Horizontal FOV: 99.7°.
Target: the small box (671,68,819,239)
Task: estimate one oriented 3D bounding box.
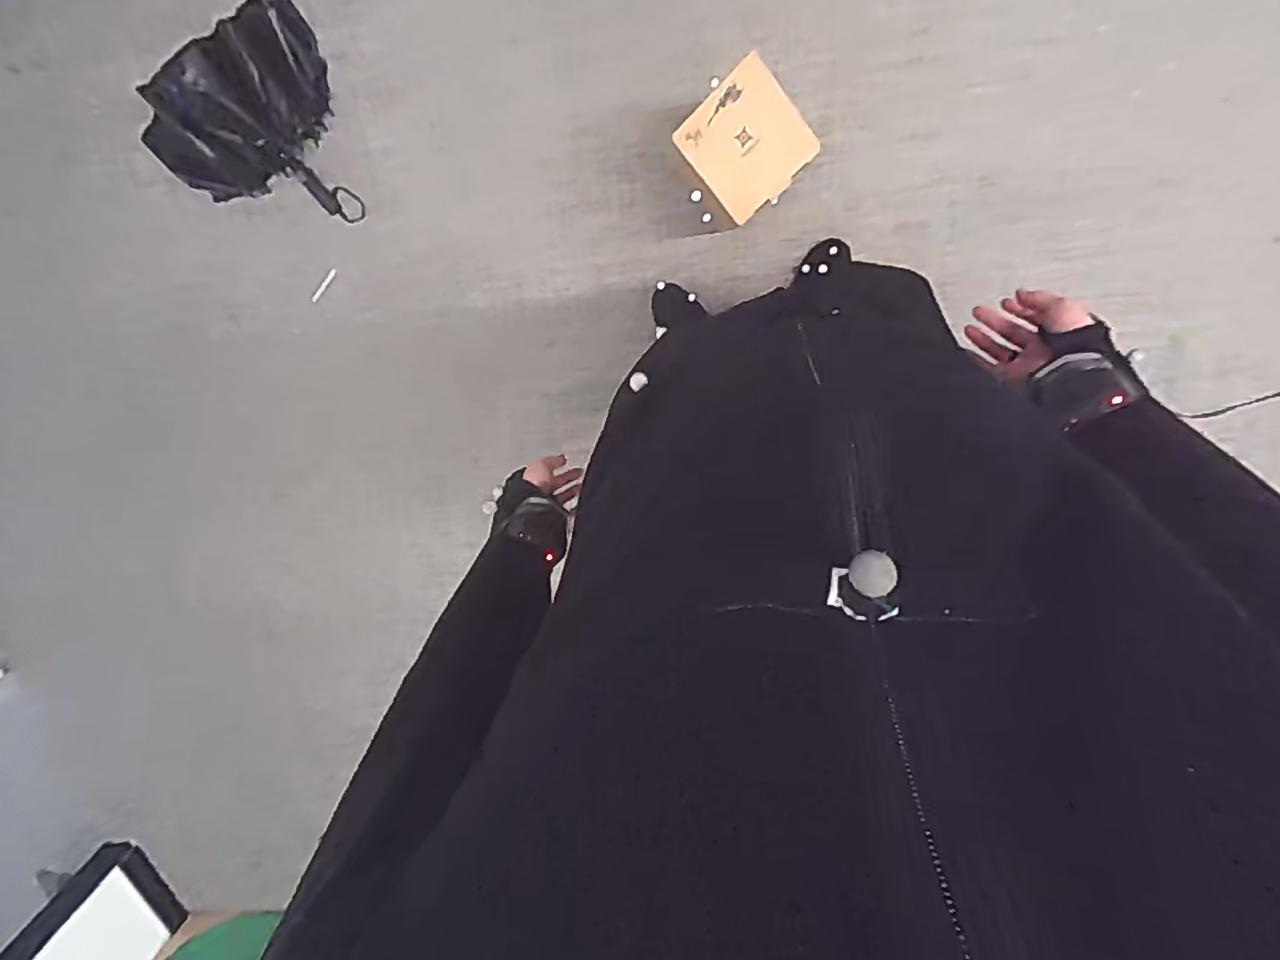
[{"bbox_3d":[0.169,-0.540,0.921,0.168,0.176,0.179,-40,107,16],"label":"small box"}]
